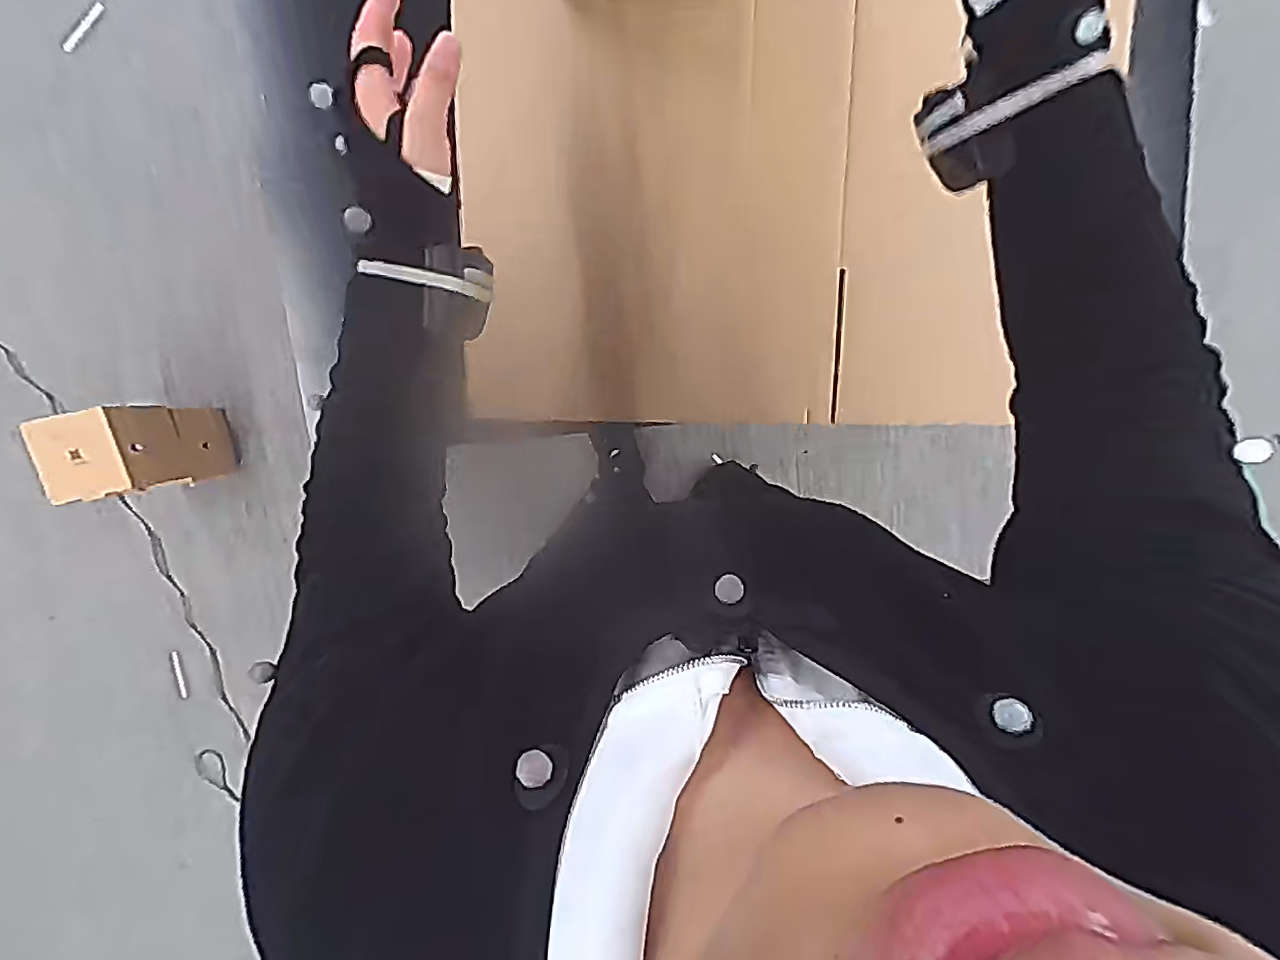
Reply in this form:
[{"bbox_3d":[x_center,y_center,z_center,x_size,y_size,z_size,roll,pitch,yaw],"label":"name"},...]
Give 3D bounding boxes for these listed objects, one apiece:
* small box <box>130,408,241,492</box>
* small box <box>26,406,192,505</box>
[{"bbox_3d":[-1.137,-0.080,1.331,0.168,0.176,0.179,-10,100,-2],"label":"small box"},{"bbox_3d":[-1.130,-0.060,1.170,0.168,0.176,0.179,-13,98,-2],"label":"small box"}]
